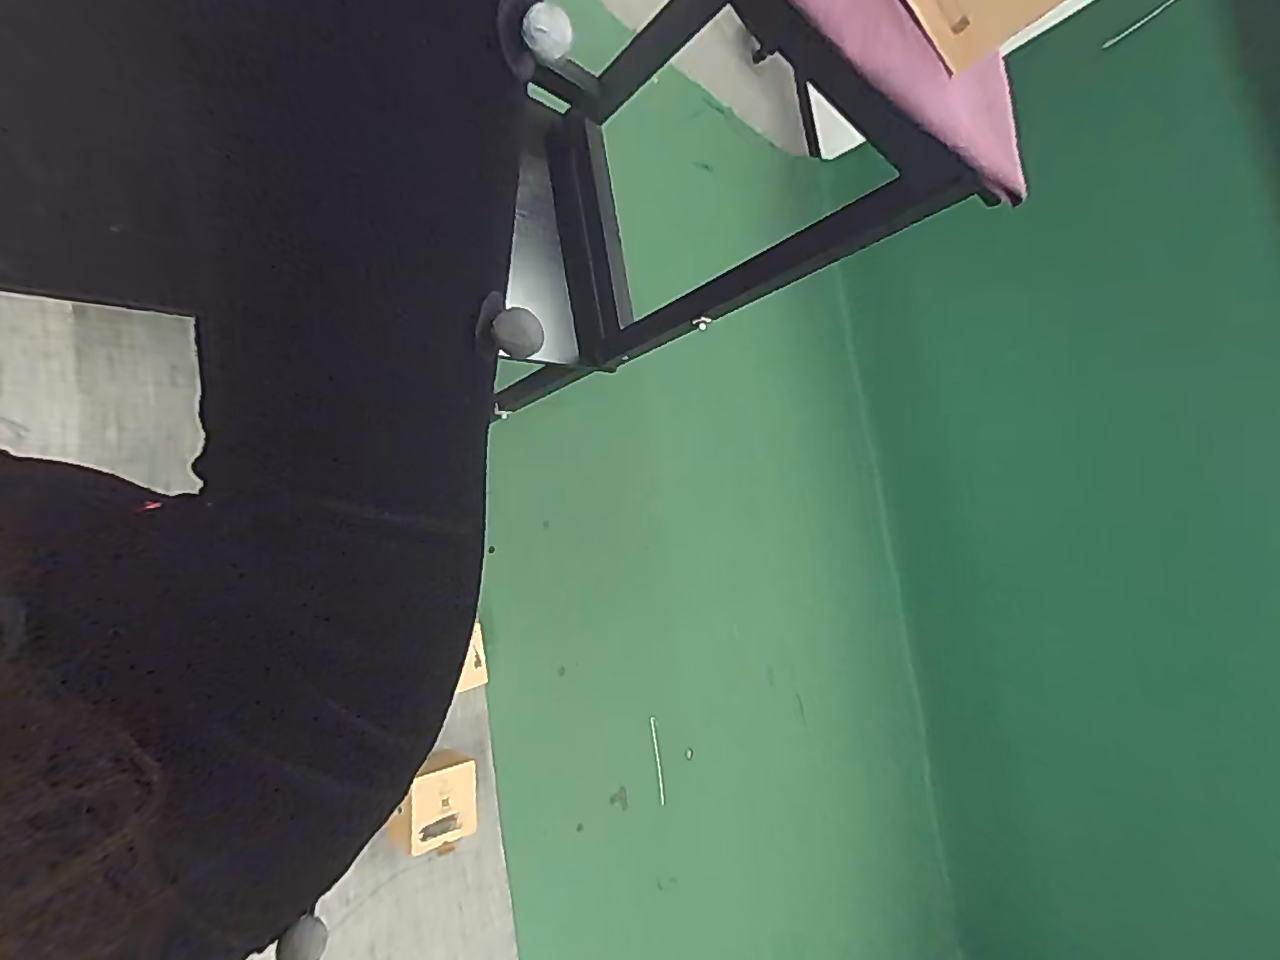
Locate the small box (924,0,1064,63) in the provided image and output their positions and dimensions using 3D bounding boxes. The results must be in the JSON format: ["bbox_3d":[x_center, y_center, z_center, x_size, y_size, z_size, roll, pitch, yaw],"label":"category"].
[{"bbox_3d":[0.315,-0.518,0.451,0.168,0.176,0.179,1,78,-43],"label":"small box"}]
